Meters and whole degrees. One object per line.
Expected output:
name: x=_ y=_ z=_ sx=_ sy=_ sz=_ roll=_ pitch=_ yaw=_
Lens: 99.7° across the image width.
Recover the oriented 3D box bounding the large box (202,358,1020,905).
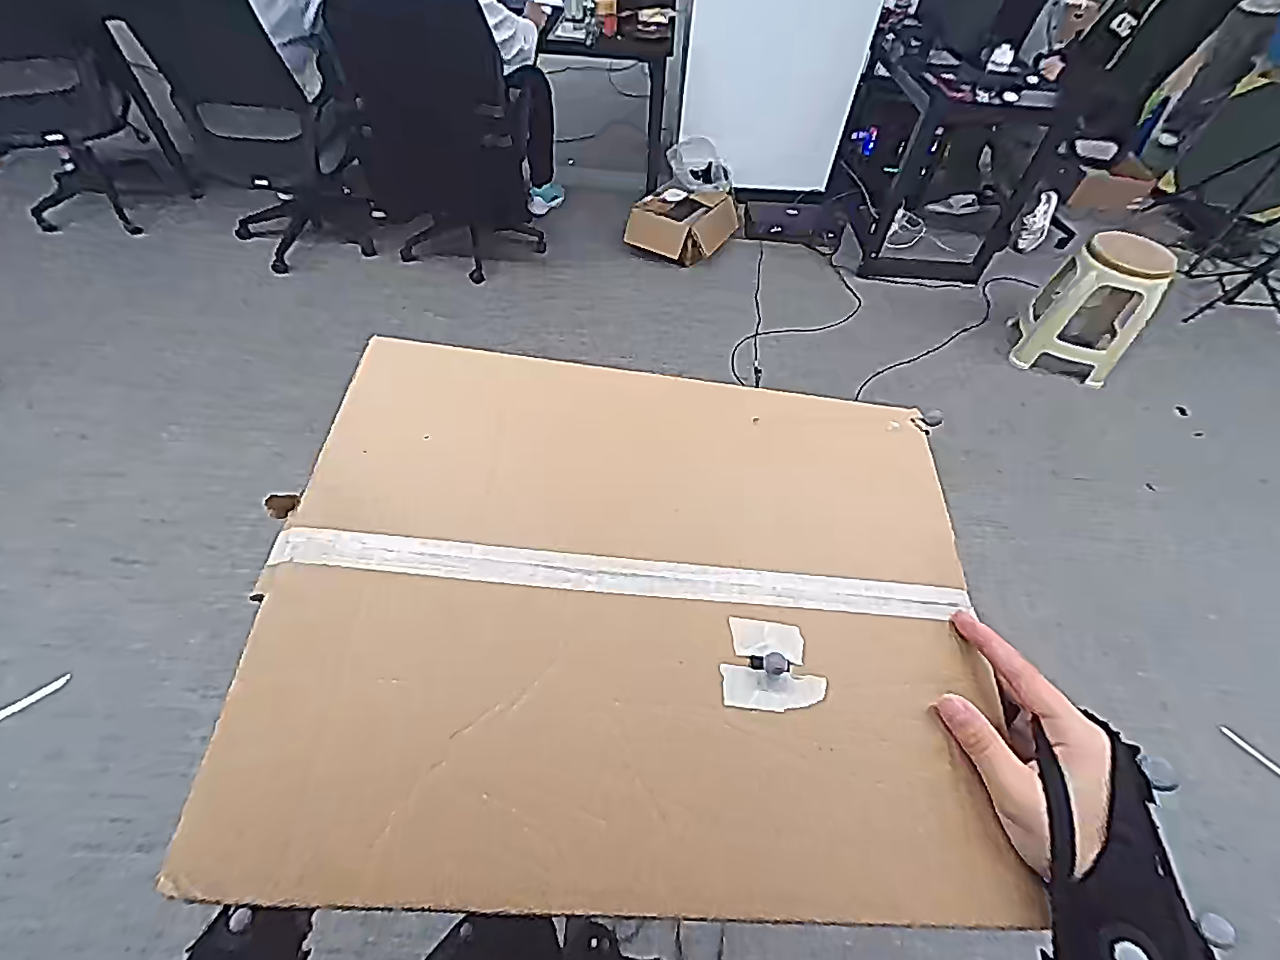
large box: x=-0.016 y=0.137 z=0.457 sx=0.408 sy=0.320 sz=0.320 roll=7 pitch=61 yaw=-7
